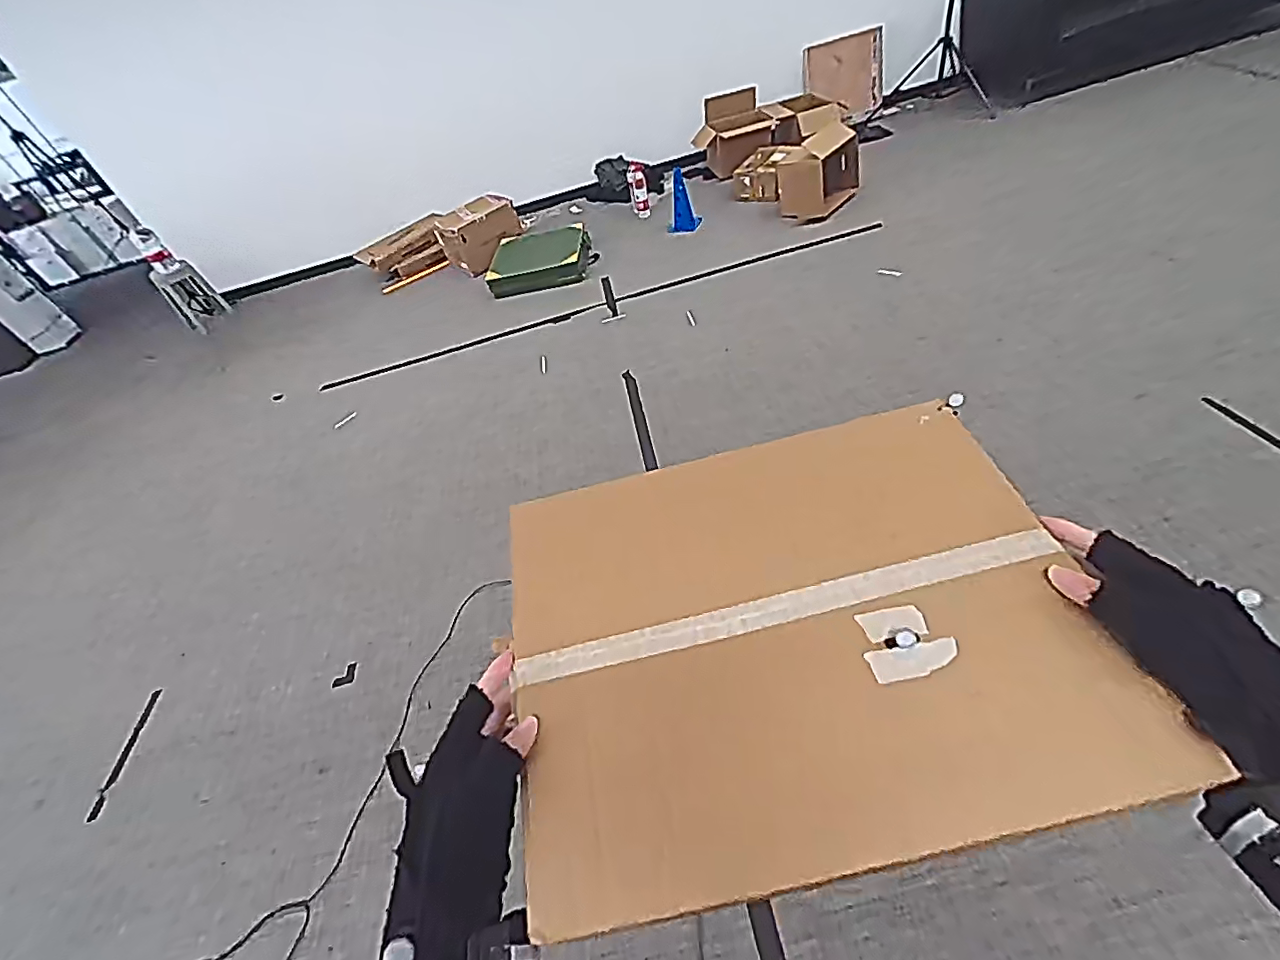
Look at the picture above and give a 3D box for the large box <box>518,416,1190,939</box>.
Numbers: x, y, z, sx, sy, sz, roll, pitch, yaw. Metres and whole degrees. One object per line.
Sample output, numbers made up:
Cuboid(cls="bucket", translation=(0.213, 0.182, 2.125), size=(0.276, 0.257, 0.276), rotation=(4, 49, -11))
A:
Cuboid(cls="large box", translation=(0.128, 0.193, 0.526), size=(0.408, 0.320, 0.320), rotation=(-14, 52, 0))
